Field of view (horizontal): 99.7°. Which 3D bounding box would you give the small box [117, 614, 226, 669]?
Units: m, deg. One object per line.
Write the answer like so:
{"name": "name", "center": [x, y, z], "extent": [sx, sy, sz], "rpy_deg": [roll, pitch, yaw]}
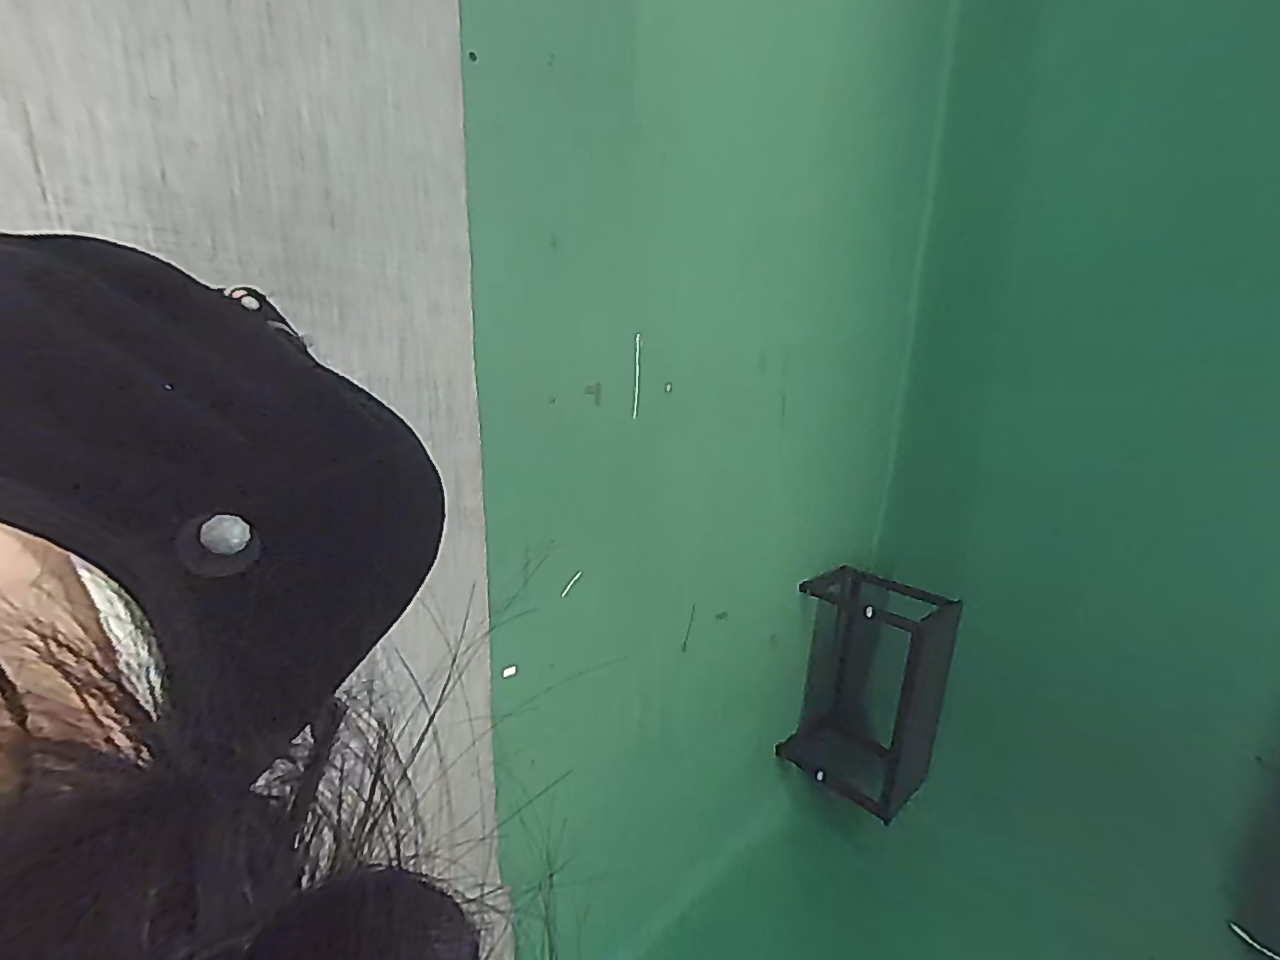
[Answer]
{"name": "small box", "center": [-0.990, 0.409, 1.164], "extent": [0.168, 0.176, 0.179], "rpy_deg": [-16, 112, -38]}

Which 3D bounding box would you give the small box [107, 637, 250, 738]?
{"name": "small box", "center": [-0.884, 0.428, 1.041], "extent": [0.179, 0.176, 0.168], "rpy_deg": [-15, 109, -38]}

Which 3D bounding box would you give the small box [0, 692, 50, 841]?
{"name": "small box", "center": [-1.092, 0.480, 0.866], "extent": [0.168, 0.176, 0.179], "rpy_deg": [-17, 113, -41]}

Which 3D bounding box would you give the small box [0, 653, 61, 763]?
{"name": "small box", "center": [-1.204, 0.447, 0.981], "extent": [0.179, 0.176, 0.168], "rpy_deg": [-15, 111, -40]}
